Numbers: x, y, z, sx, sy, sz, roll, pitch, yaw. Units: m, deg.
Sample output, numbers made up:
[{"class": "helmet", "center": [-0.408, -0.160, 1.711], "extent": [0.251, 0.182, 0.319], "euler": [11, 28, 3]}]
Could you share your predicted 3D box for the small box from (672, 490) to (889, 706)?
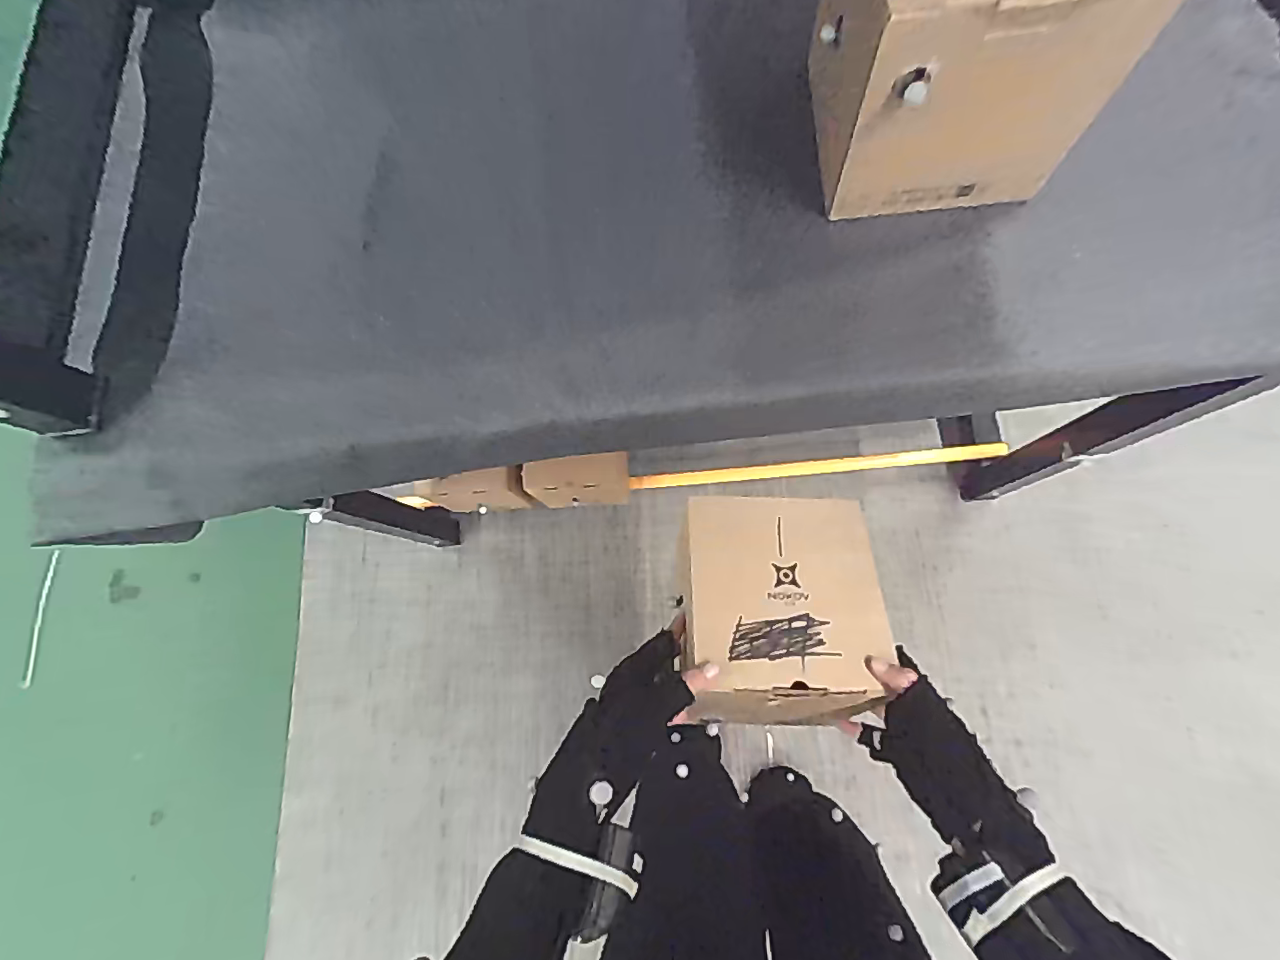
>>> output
[{"class": "small box", "center": [0.123, 0.127, 0.551], "extent": [0.168, 0.176, 0.179], "euler": [1, 59, -2]}]
